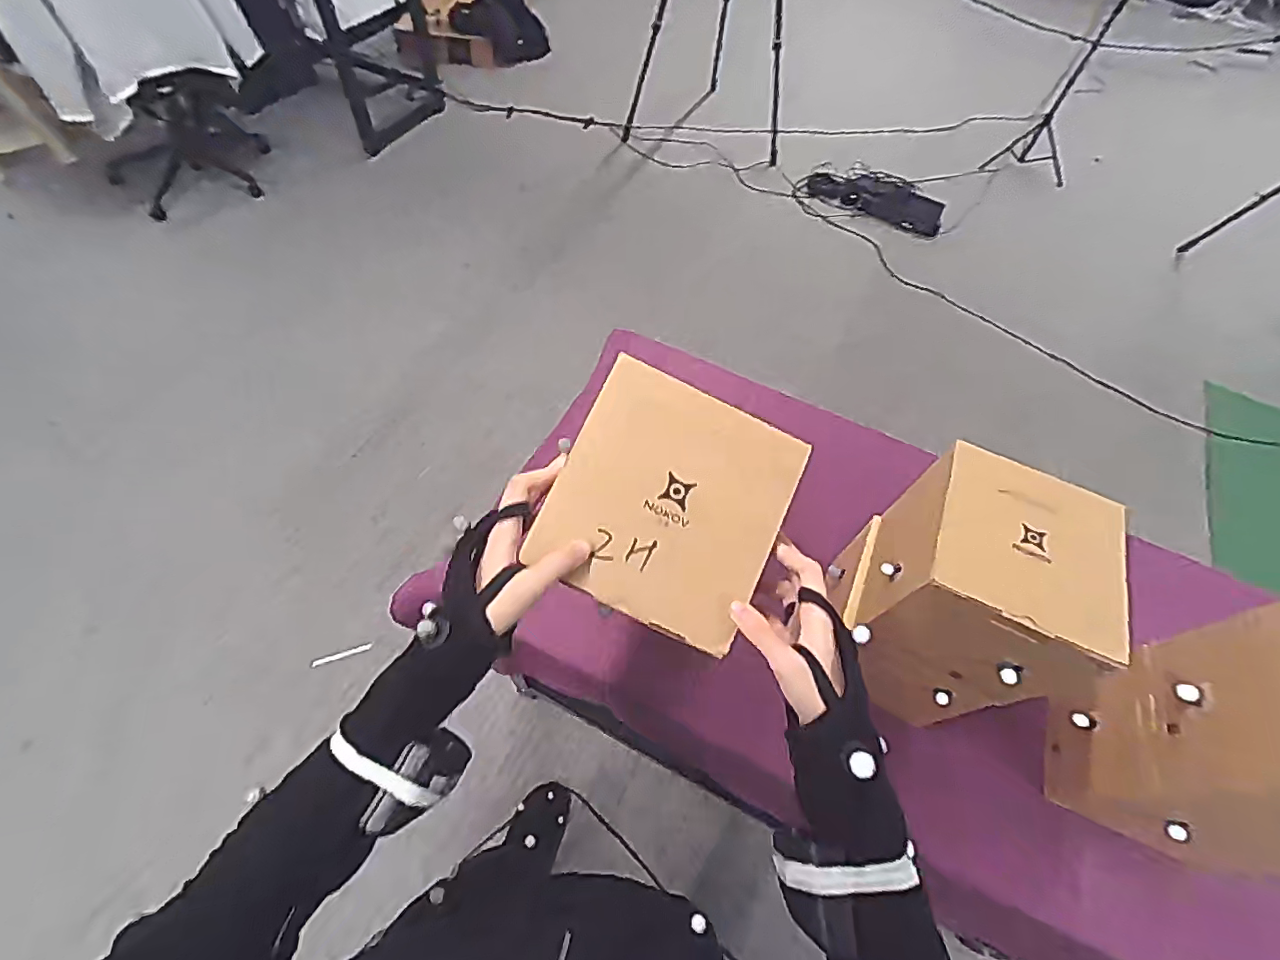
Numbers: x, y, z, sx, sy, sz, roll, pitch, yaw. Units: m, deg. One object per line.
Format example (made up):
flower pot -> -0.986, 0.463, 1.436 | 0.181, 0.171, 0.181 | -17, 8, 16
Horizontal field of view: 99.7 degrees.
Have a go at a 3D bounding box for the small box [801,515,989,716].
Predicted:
small box -> 0.331, 0.181, 0.700 | 0.179, 0.176, 0.168 | 26, 58, 11

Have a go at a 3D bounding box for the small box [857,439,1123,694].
small box -> 0.348, 0.096, 0.563 | 0.168, 0.176, 0.179 | 25, 58, 10

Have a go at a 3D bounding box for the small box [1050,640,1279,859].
small box -> 0.620, 0.318, 0.630 | 0.179, 0.176, 0.168 | 22, 58, 11

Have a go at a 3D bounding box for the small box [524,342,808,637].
small box -> 0.015, 0.016, 0.482 | 0.168, 0.176, 0.179 | 27, 79, 0
